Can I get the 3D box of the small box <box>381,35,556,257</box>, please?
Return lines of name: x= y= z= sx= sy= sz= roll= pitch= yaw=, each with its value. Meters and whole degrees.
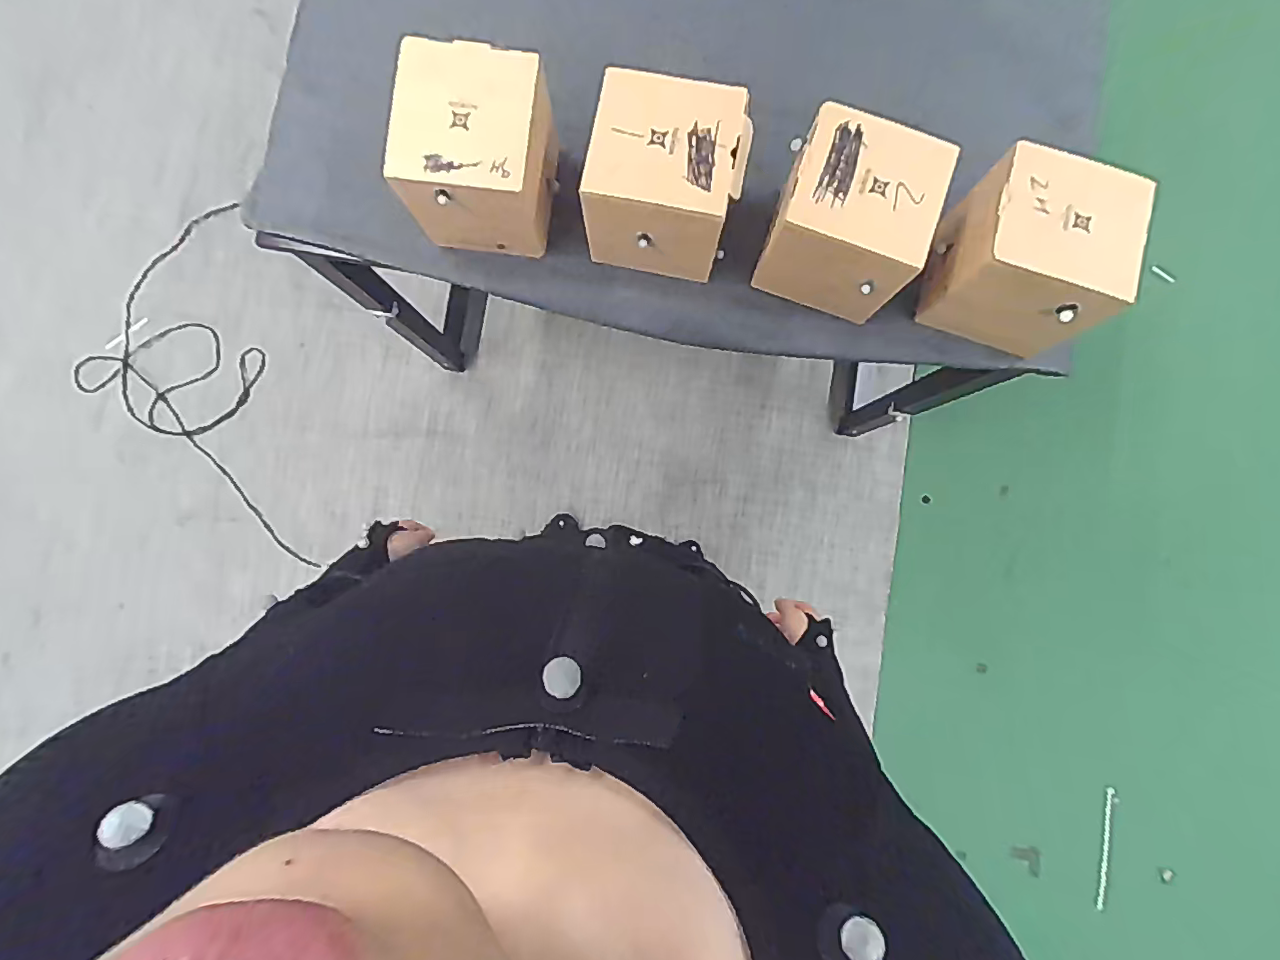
small box: x=-0.210 y=-0.426 z=0.713 sx=0.168 sy=0.176 sz=0.179 roll=7 pitch=86 yaw=1
